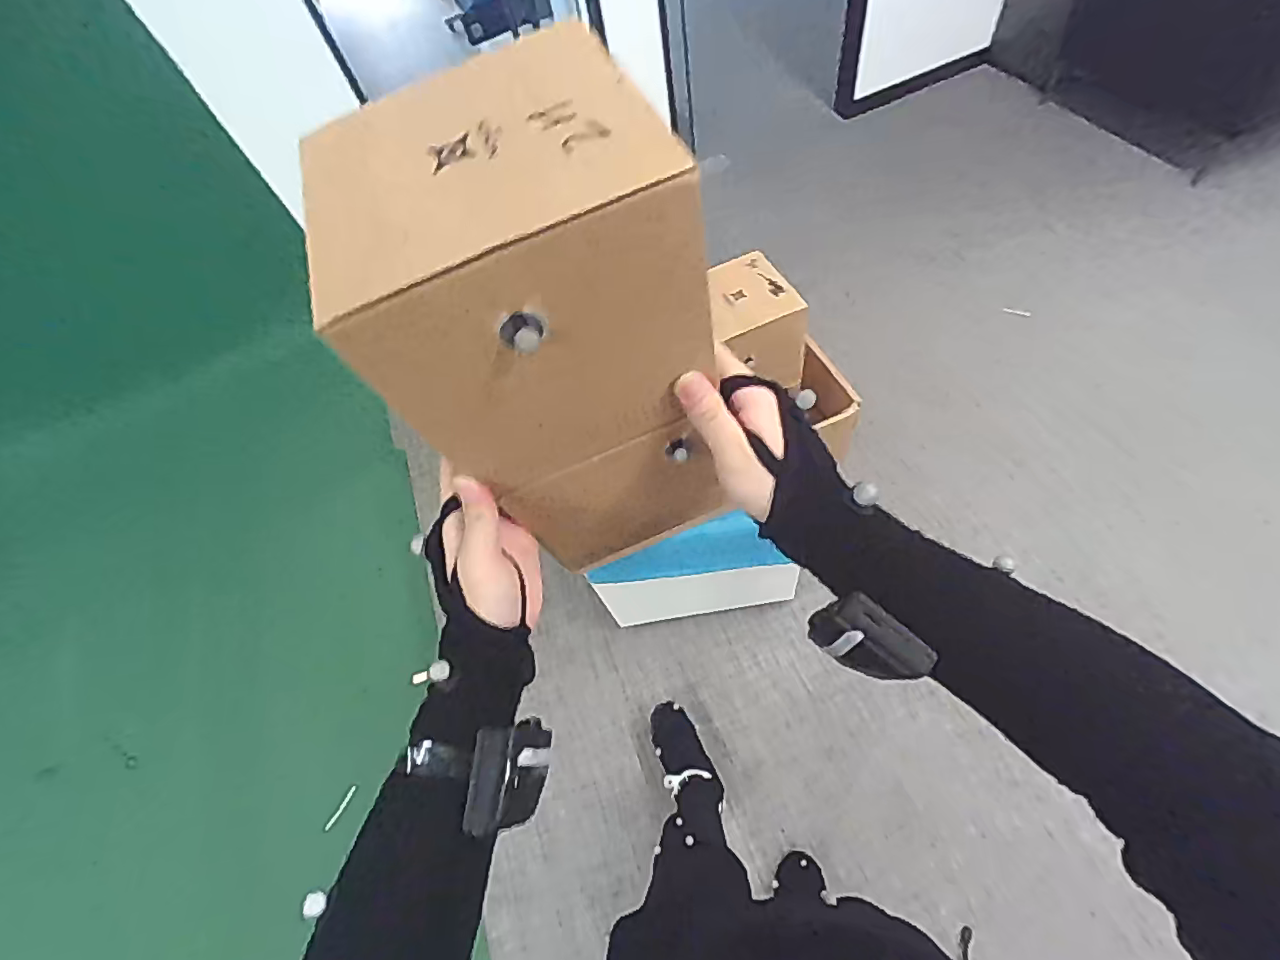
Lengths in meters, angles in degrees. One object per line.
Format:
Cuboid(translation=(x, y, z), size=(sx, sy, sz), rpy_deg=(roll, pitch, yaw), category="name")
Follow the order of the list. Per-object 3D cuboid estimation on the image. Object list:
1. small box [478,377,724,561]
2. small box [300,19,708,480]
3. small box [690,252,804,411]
Cuboid(translation=(-0.038, -0.051, 0.478), size=(0.179, 0.176, 0.168), rpy_deg=(-23, 60, 0), category="small box")
Cuboid(translation=(-0.071, -0.126, 0.335), size=(0.179, 0.176, 0.168), rpy_deg=(-23, 61, -1), category="small box")
Cuboid(translation=(0.164, -0.248, 0.932), size=(0.179, 0.176, 0.168), rpy_deg=(-24, 57, -1), category="small box")
